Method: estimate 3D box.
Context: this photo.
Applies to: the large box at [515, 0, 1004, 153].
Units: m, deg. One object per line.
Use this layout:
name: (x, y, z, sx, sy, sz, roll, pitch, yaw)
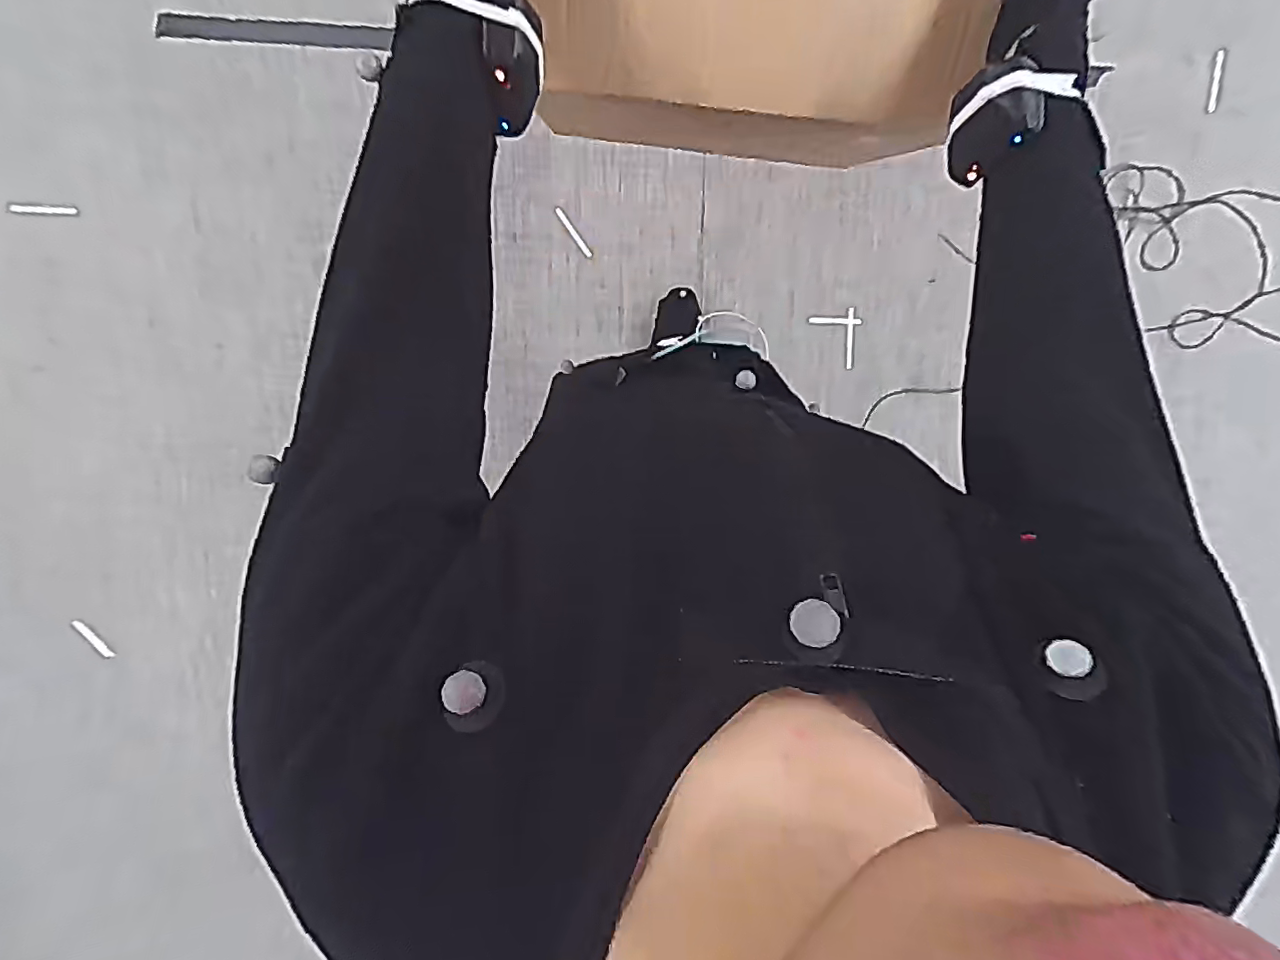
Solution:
large box: (0.100, -0.531, 0.530, 0.408, 0.320, 0.320, 4, 116, -4)
